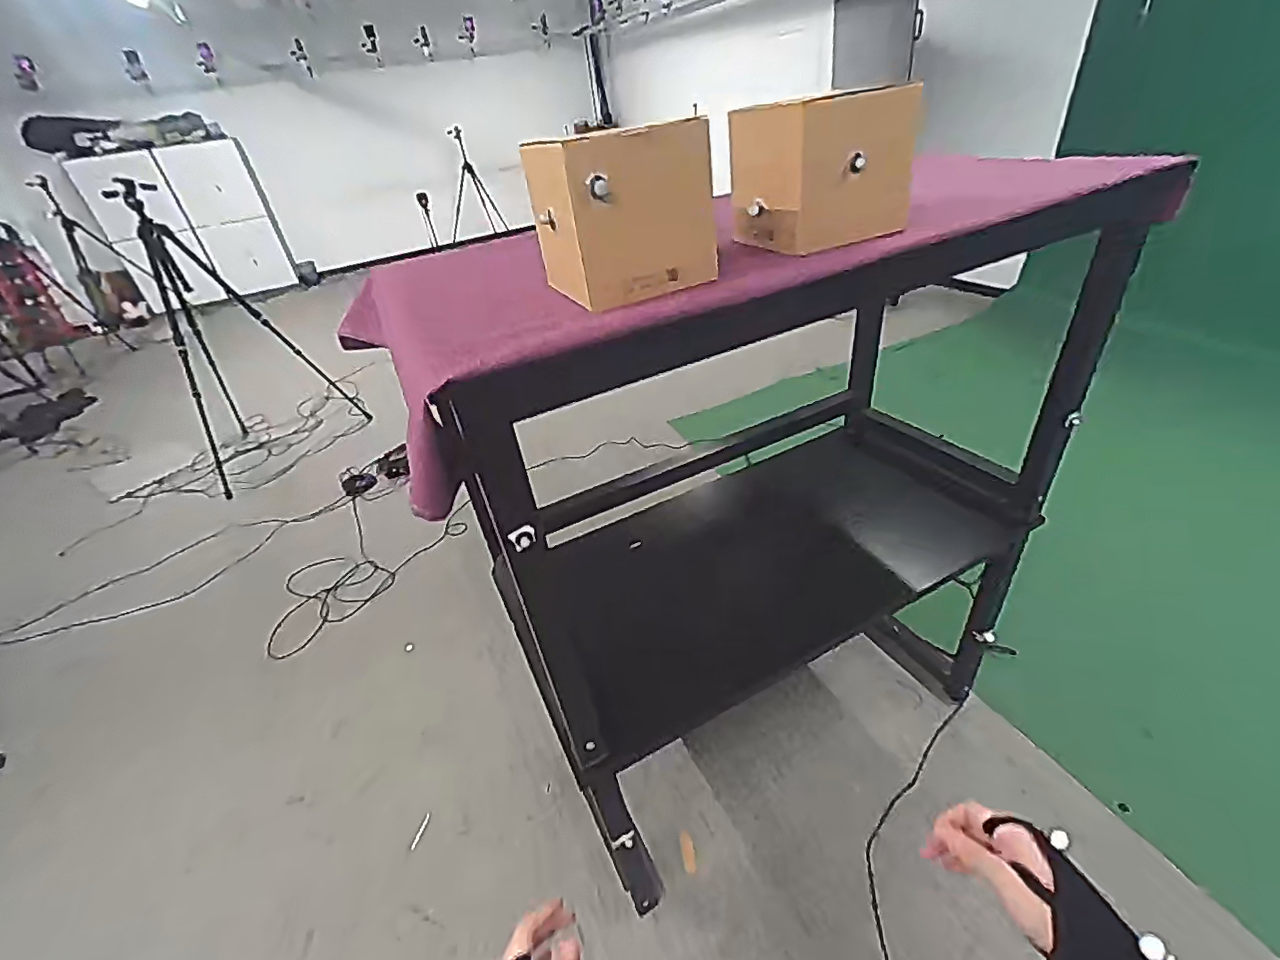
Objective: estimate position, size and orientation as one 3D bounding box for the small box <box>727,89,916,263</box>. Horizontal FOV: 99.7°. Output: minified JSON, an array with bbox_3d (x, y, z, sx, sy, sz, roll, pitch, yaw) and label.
[{"bbox_3d":[0.235,-0.411,0.734,0.179,0.176,0.168,-20,35,-13],"label":"small box"}]
